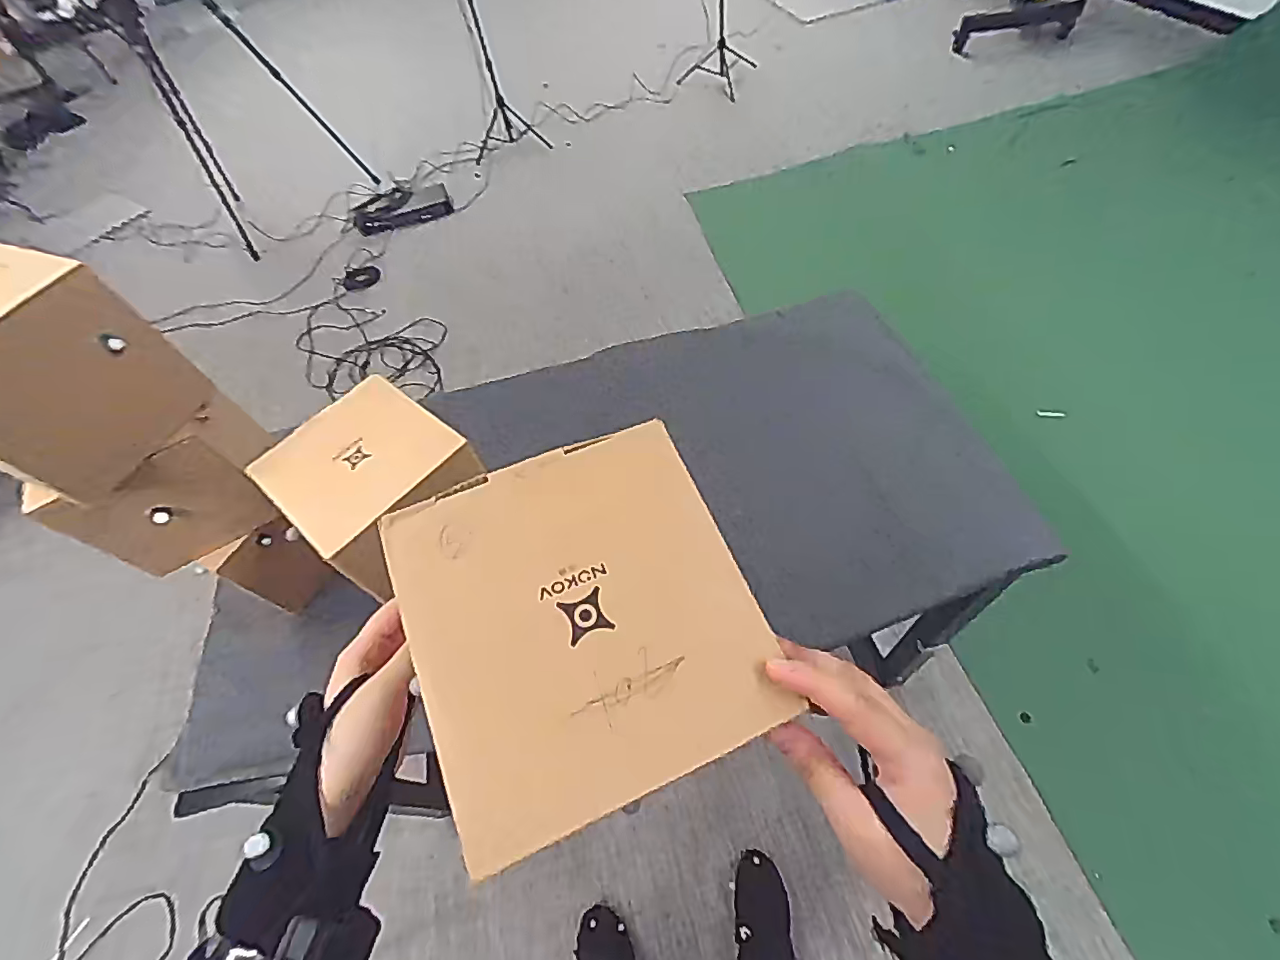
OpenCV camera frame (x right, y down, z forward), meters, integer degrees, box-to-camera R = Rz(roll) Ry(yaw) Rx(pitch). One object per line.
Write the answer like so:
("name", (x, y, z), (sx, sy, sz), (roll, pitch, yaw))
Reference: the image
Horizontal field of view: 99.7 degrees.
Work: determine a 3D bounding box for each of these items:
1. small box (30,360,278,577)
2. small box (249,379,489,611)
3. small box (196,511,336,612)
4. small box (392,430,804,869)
("small box", (-0.588, -0.011, 0.681), (0.179, 0.176, 0.168), (-31, 58, -11))
("small box", (-0.275, 0.025, 0.610), (0.179, 0.176, 0.168), (32, 66, 27))
("small box", (-0.568, 0.077, 0.820), (0.179, 0.176, 0.168), (19, 61, 20))
("small box", (-0.032, 0.101, 0.347), (0.168, 0.176, 0.179), (-20, 68, -12))
